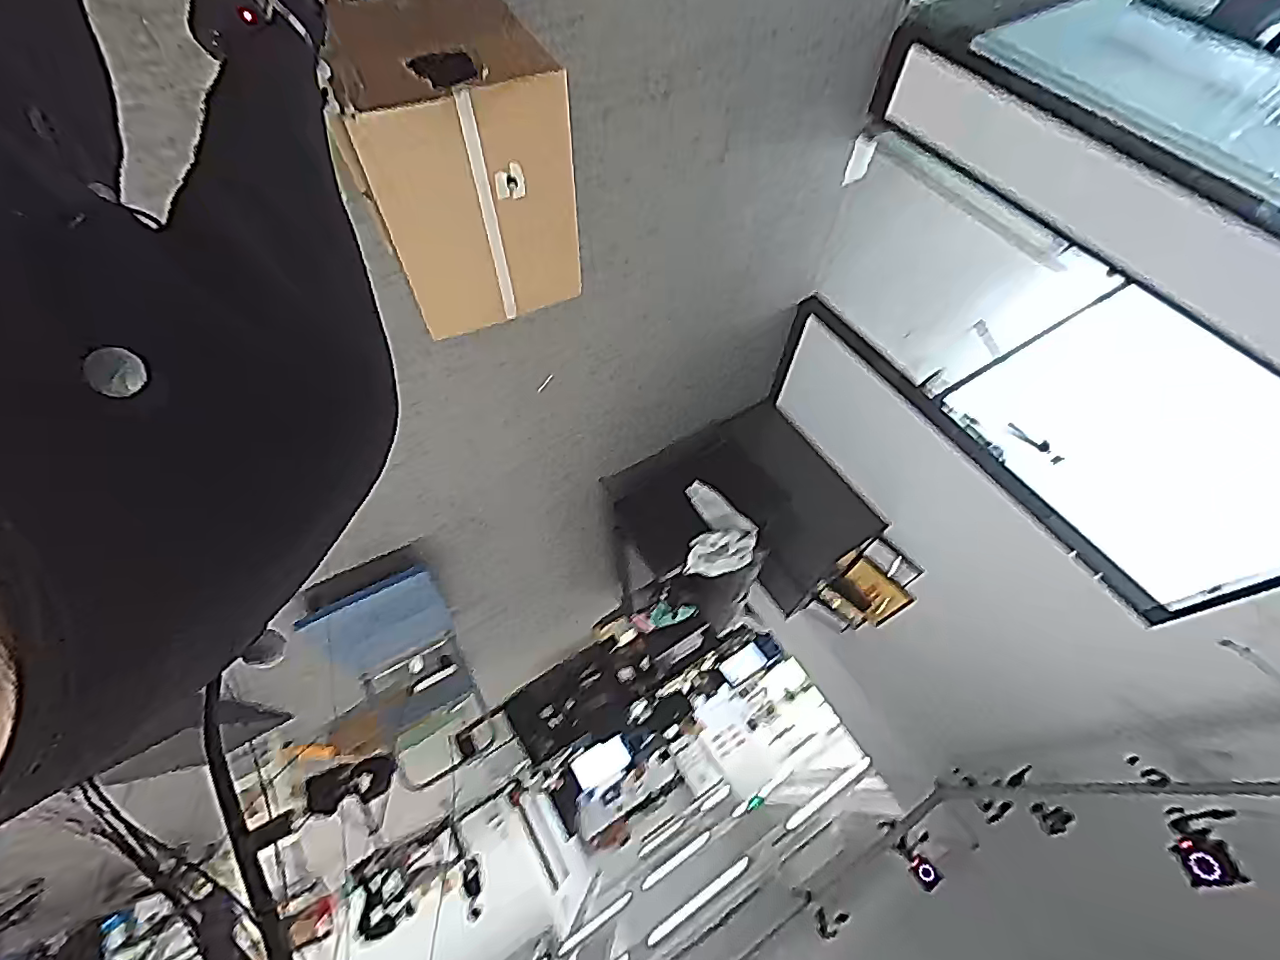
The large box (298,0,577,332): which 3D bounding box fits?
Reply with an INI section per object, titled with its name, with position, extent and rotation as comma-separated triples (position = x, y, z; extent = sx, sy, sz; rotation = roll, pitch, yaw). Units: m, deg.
[large box]
position = -0.323, -0.546, 0.950
extent = 0.320, 0.320, 0.408
rotation = -23, 153, -15
